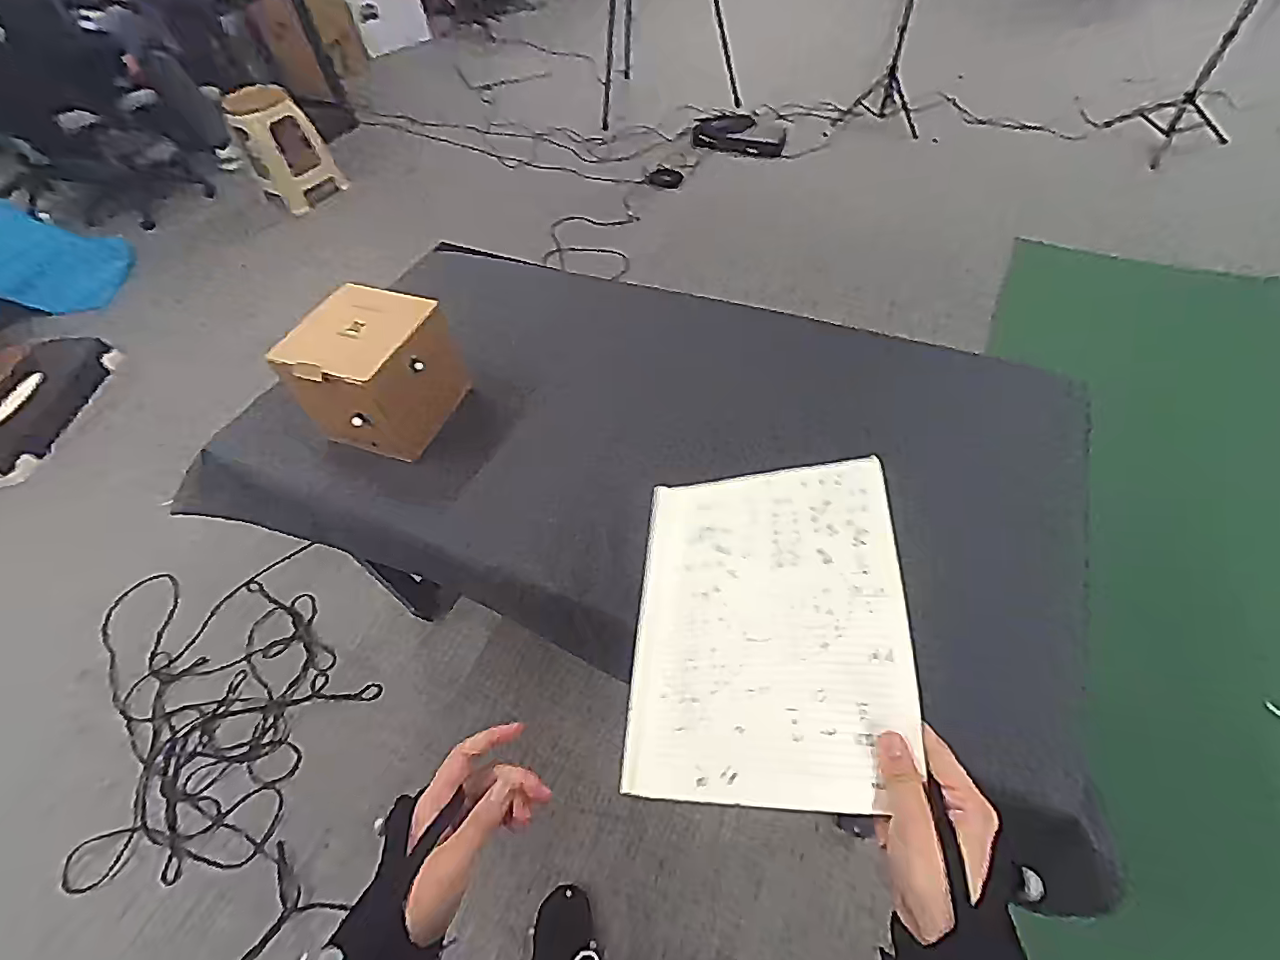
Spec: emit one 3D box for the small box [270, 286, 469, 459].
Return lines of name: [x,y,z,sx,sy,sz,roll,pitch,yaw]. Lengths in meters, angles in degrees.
small box: [-0.382,-0.156,0.805,0.168,0.176,0.179,15,55,14]
